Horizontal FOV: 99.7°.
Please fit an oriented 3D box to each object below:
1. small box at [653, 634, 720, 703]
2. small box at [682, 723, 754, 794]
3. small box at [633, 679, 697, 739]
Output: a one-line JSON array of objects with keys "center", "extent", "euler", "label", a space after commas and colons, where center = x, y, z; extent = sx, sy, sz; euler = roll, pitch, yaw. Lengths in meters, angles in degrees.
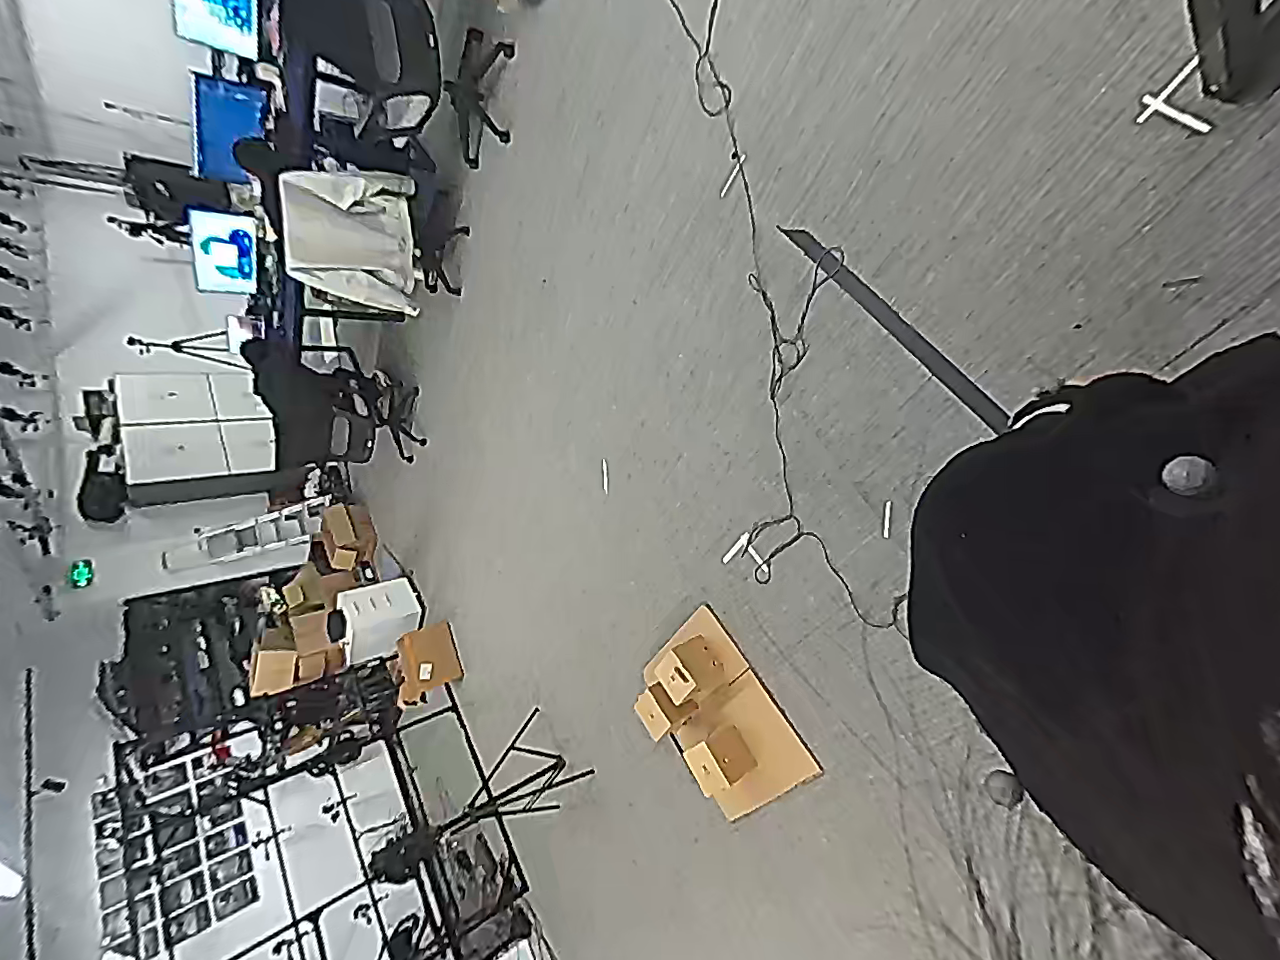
[{"center": [0.188, 0.739, 2.133], "extent": [0.168, 0.176, 0.179], "euler": [52, 132, 28], "label": "small box"}, {"center": [0.300, 1.058, 2.072], "extent": [0.179, 0.176, 0.168], "euler": [57, 134, 23], "label": "small box"}, {"center": [0.104, 0.942, 2.274], "extent": [0.179, 0.176, 0.168], "euler": [50, 132, 29], "label": "small box"}]
